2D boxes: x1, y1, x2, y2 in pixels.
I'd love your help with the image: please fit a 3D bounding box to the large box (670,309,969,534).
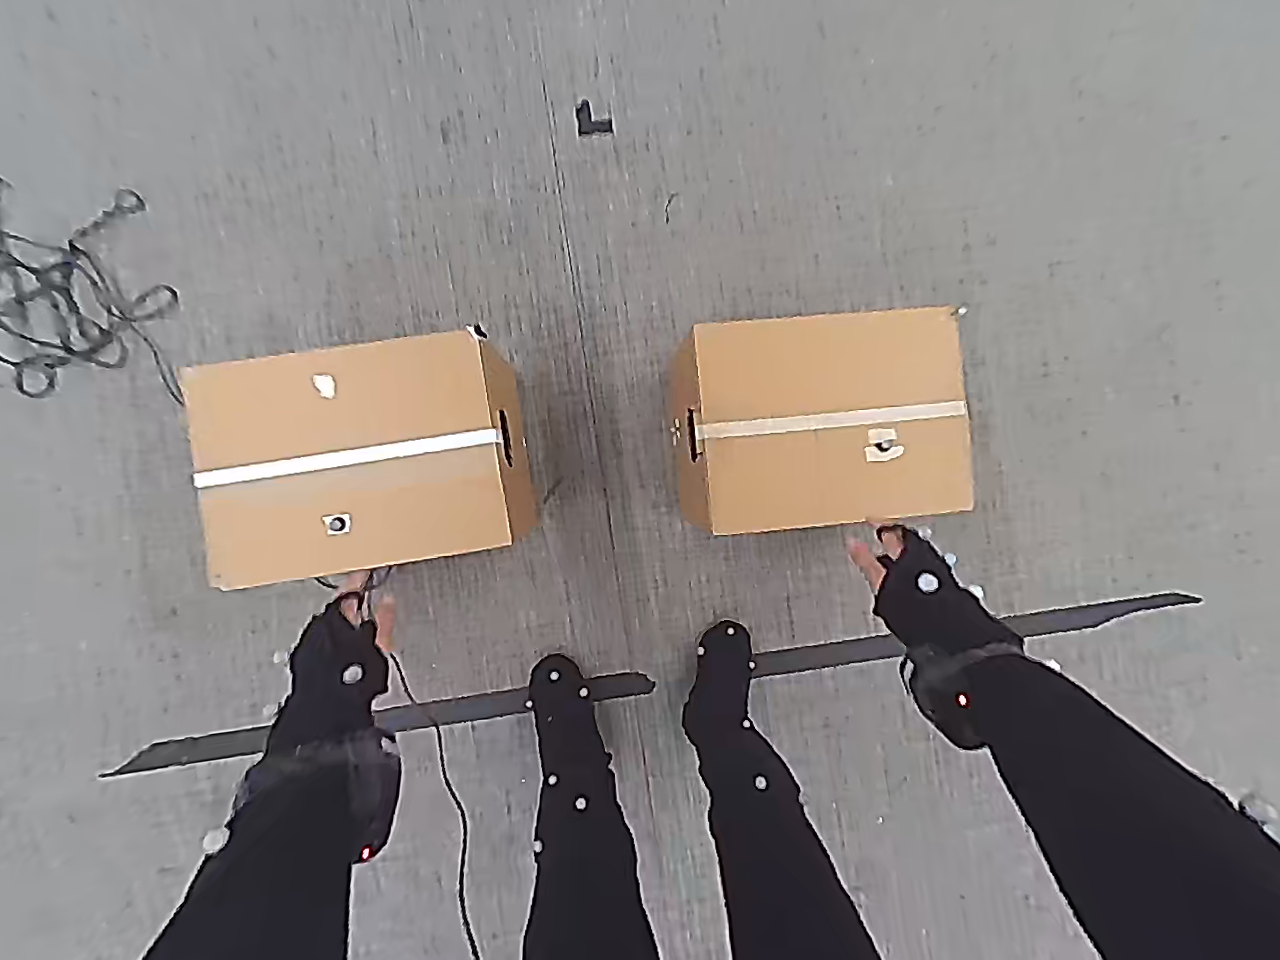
[{"bbox_3d":[0.282,-0.089,0.960,0.408,0.320,0.320,-5,91,-5],"label":"large box"}]
